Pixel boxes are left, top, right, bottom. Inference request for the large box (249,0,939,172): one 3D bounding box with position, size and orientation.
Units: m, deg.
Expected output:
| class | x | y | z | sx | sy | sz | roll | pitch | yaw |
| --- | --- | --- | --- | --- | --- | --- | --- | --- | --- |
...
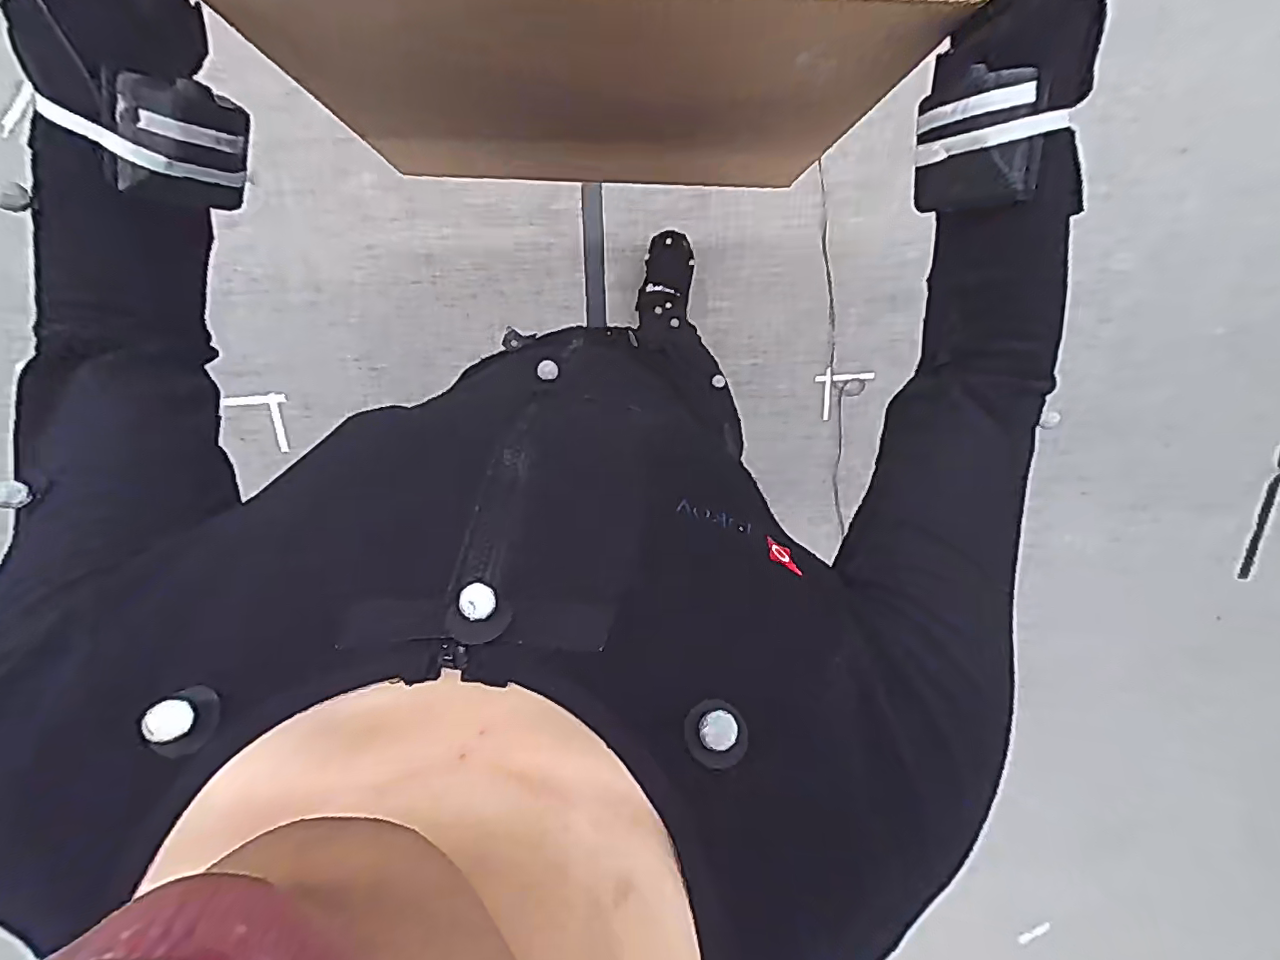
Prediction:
| class | x | y | z | sx | sy | sz | roll | pitch | yaw |
| --- | --- | --- | --- | --- | --- | --- | --- | --- | --- |
| large box | -0.032 | -0.438 | 0.383 | 0.408 | 0.320 | 0.320 | -1 | 103 | -3 |
